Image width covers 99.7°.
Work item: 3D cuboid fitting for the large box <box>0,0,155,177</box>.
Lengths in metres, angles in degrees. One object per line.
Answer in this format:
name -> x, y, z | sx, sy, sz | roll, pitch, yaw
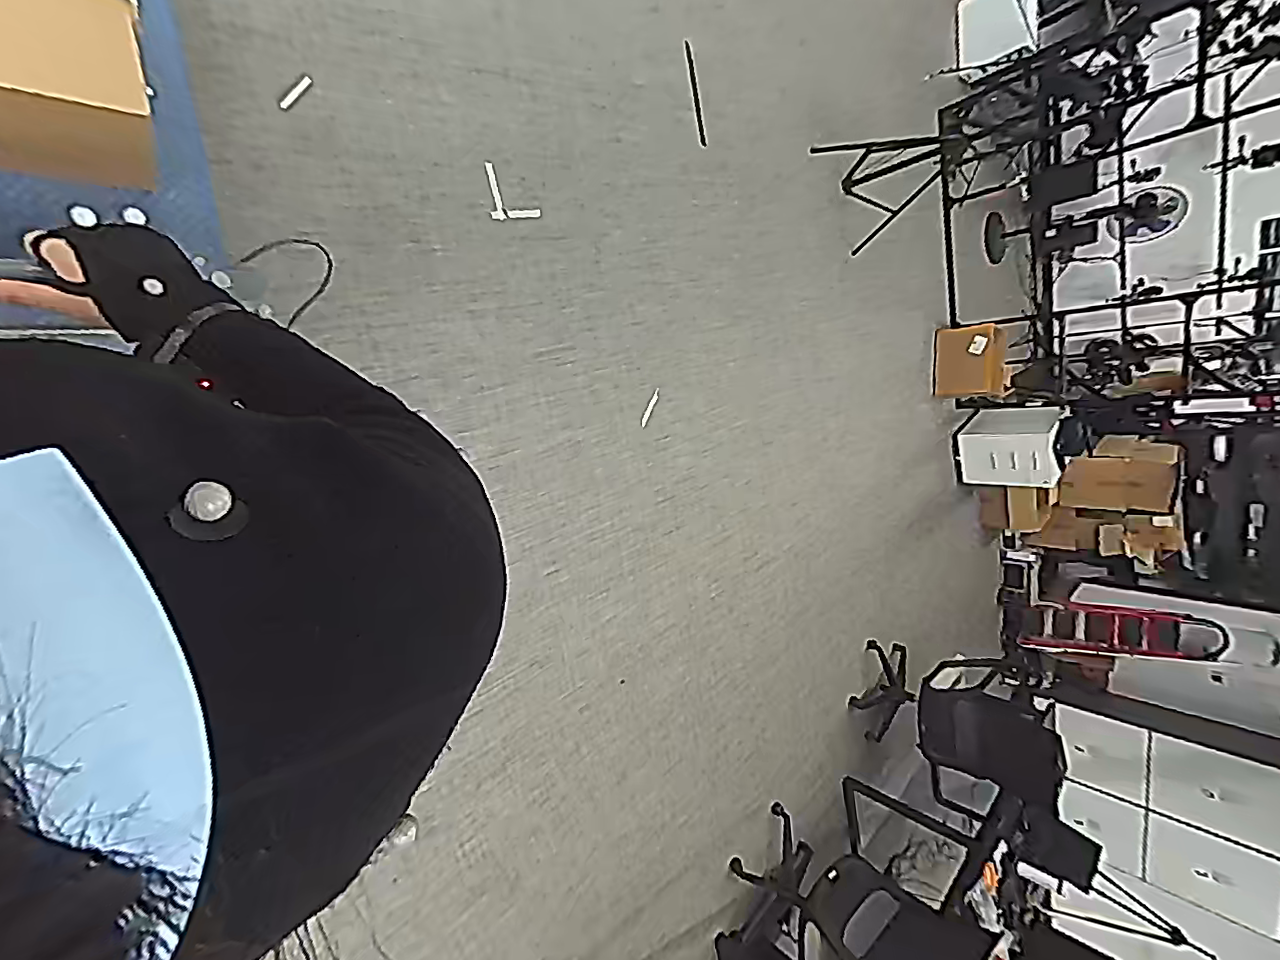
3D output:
large box -> -0.962, -0.656, 0.734 | 0.408, 0.320, 0.320 | -12, 101, -39
